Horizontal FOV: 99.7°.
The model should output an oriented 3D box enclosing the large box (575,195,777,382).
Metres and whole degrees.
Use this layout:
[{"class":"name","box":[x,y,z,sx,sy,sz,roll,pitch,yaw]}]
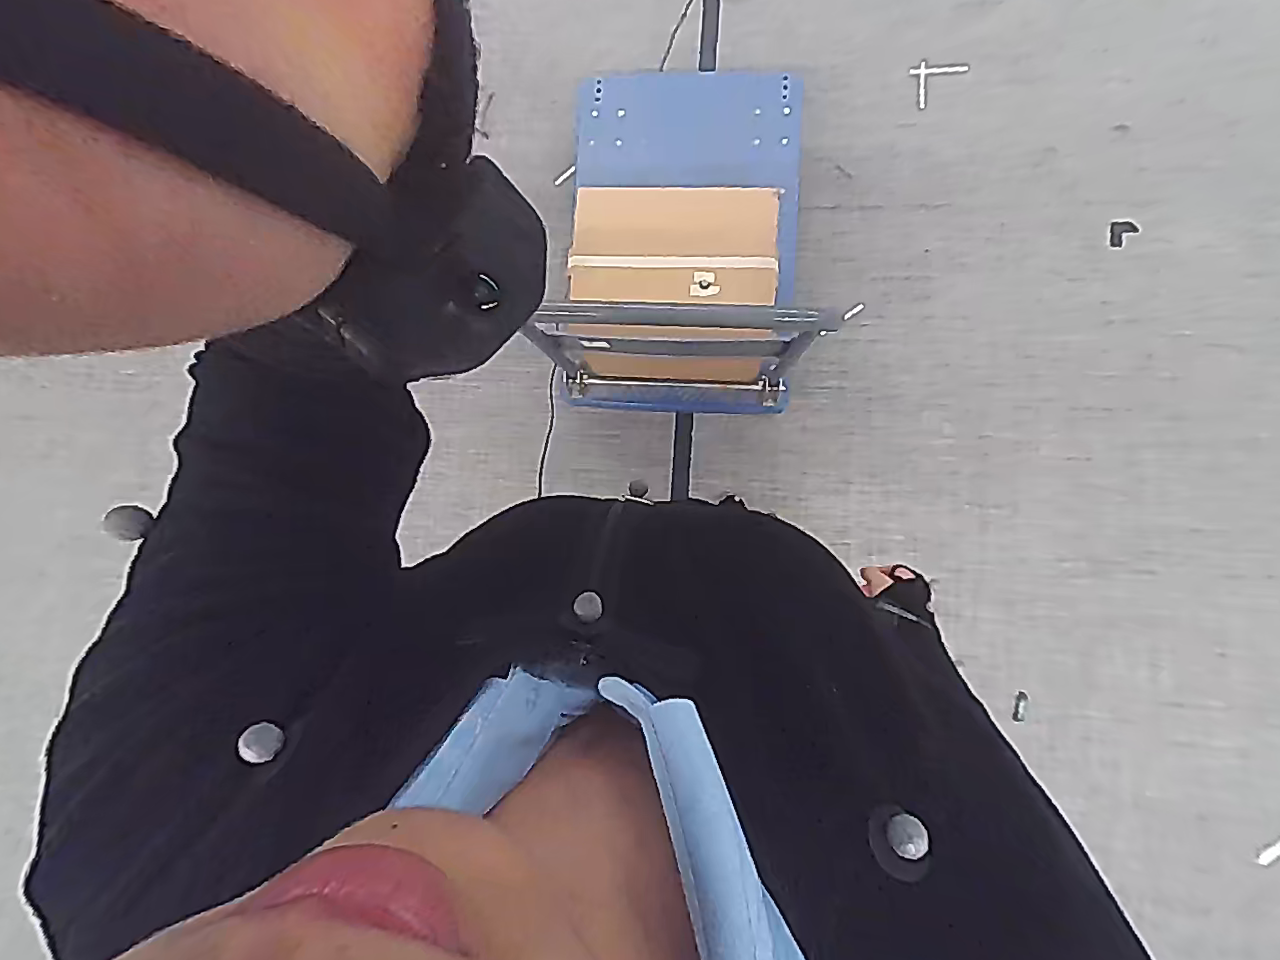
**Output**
[{"class":"large box","box":[0.081,-0.411,1.231,0.408,0.320,0.320,3,87,5]}]
